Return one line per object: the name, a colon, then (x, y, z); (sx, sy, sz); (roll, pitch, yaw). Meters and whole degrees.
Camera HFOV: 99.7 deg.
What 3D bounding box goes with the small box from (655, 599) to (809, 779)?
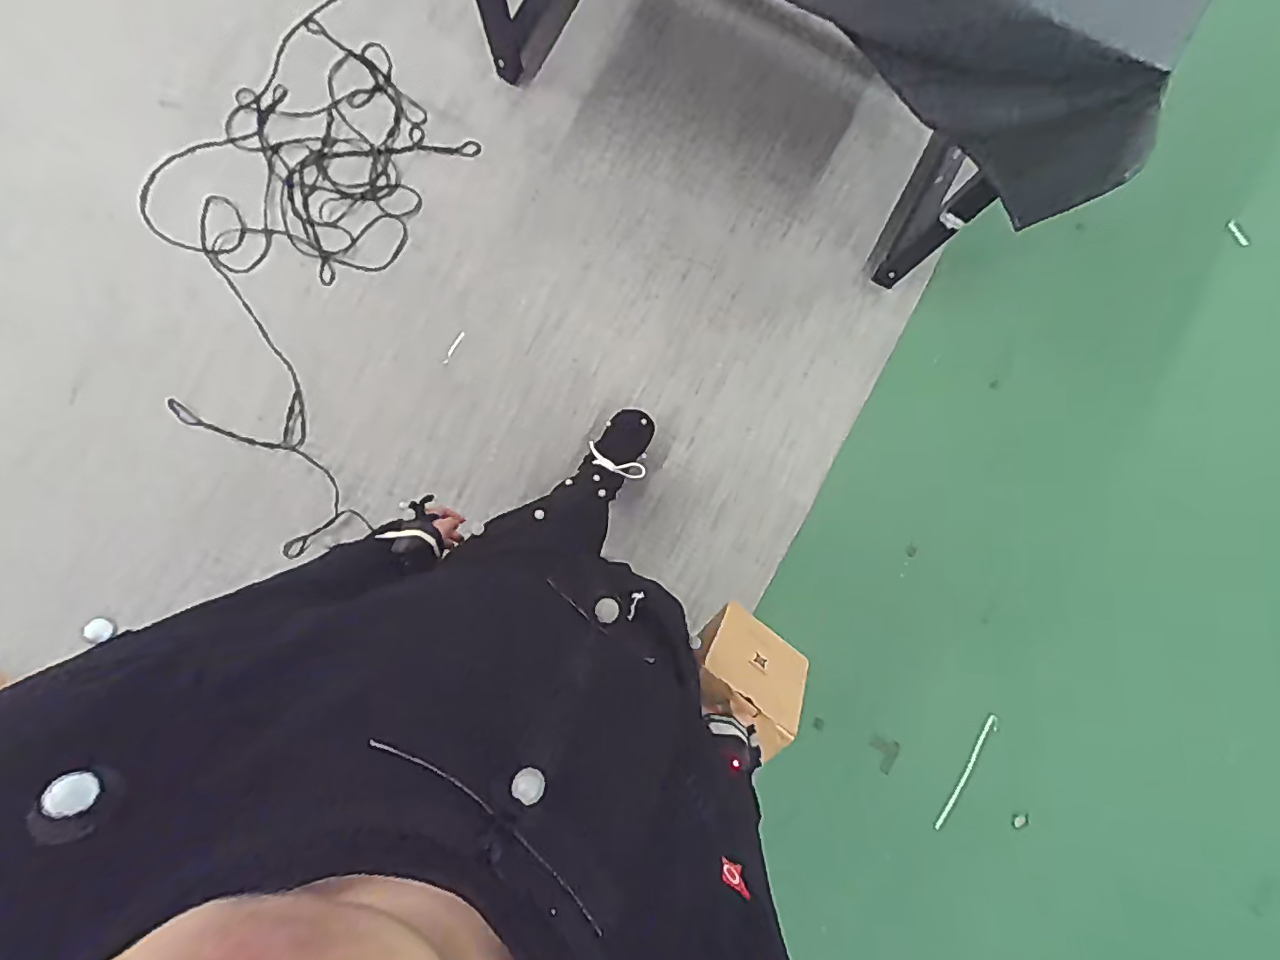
small box: (0.146, 0.335, 0.870); (0.168, 0.179, 0.176); (38, 119, 4)
